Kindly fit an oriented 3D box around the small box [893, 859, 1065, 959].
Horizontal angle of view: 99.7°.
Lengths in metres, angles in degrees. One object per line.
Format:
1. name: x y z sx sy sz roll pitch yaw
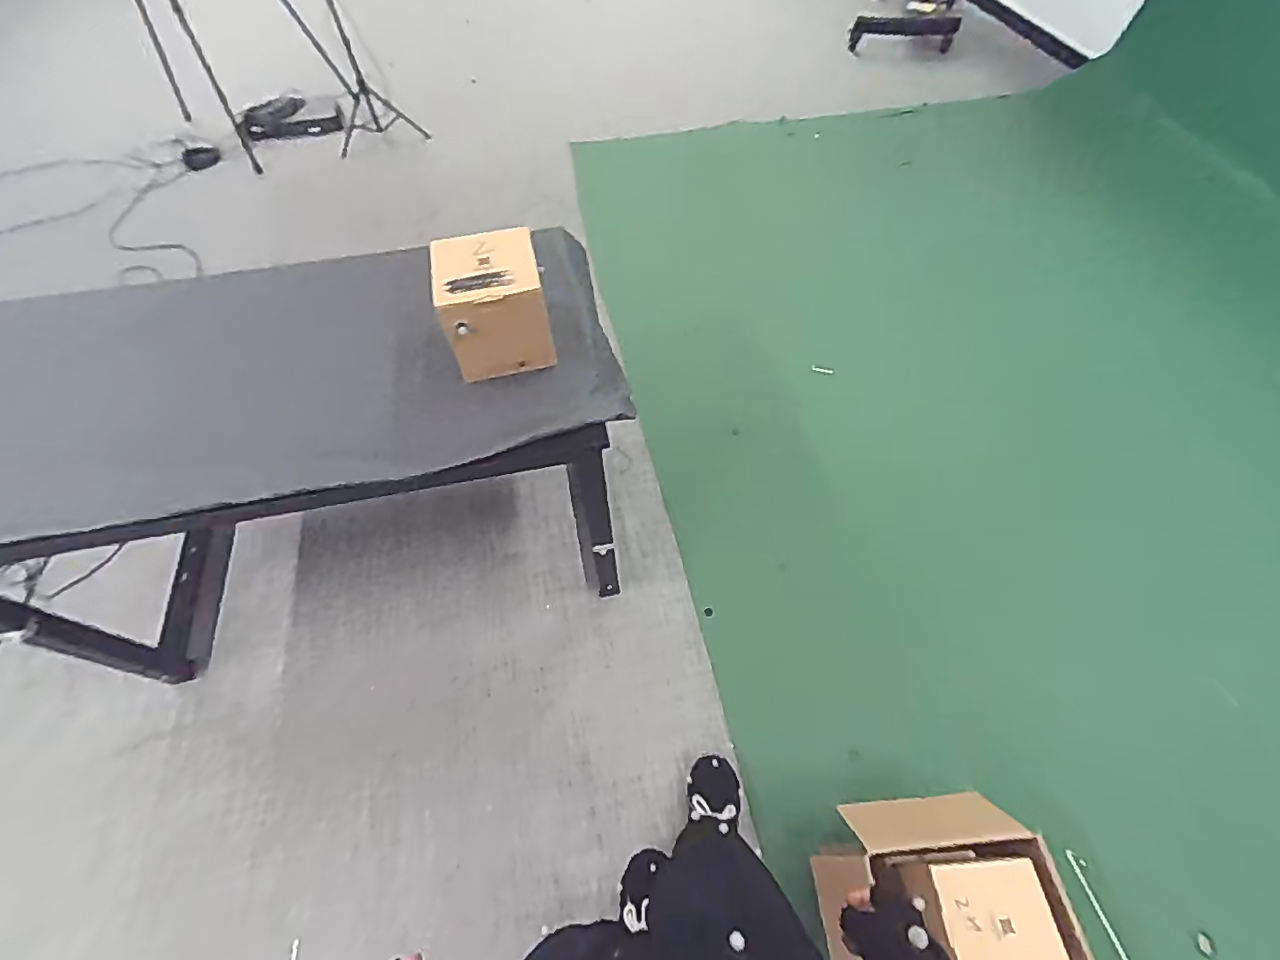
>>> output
1. small box: 0.566 0.751 0.919 0.179 0.176 0.168 -3 56 -1
